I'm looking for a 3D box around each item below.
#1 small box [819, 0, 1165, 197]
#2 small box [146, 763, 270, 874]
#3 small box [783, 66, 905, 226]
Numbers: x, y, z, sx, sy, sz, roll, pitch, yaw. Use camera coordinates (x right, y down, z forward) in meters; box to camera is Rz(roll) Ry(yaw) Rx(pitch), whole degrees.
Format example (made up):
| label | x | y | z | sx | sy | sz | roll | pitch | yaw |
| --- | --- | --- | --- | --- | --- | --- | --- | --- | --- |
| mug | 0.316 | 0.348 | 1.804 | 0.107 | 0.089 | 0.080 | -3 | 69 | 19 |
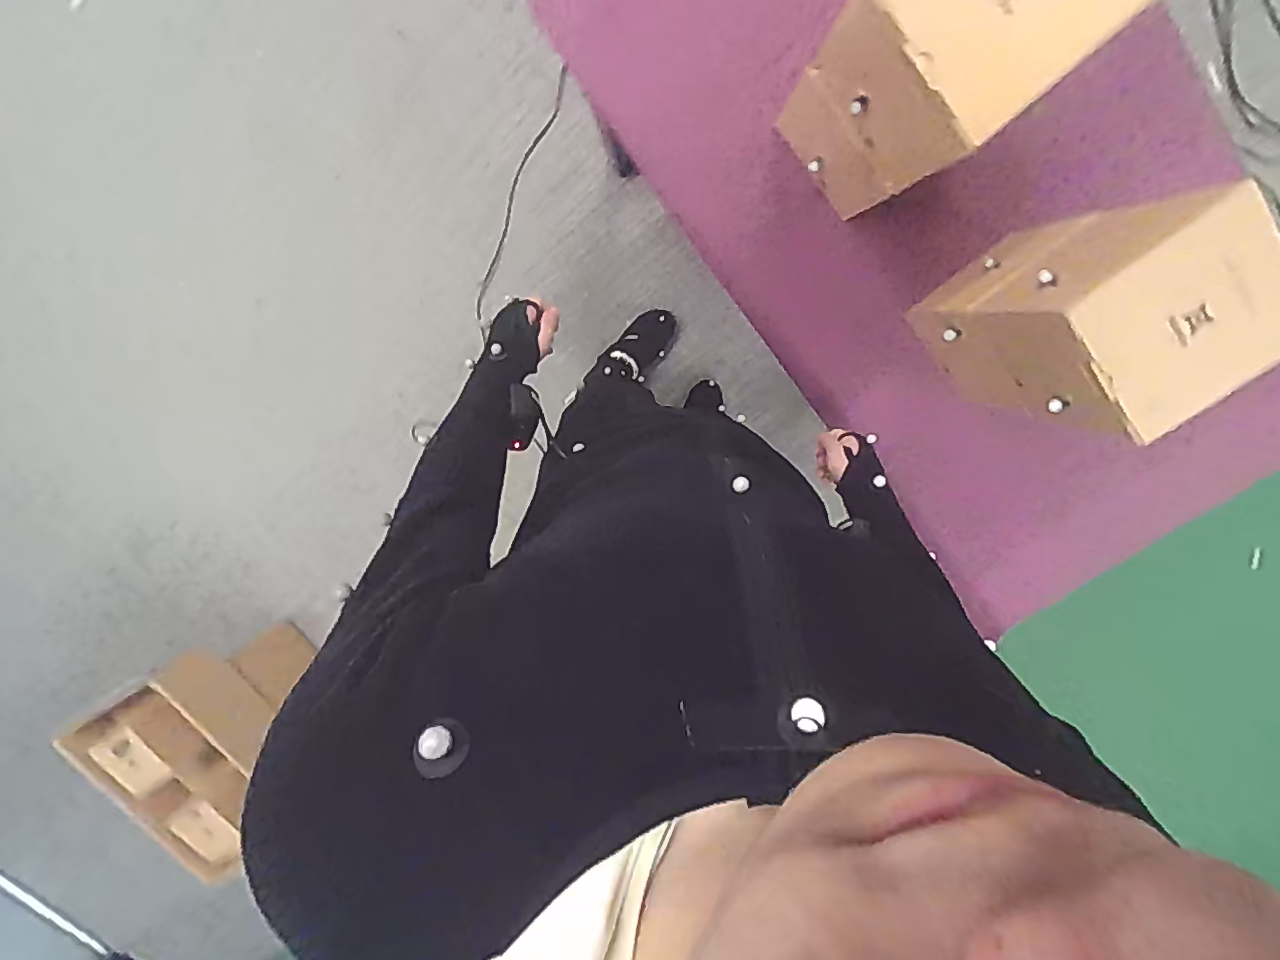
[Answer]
| label | x | y | z | sx | sy | sz | roll | pitch | yaw |
| --- | --- | --- | --- | --- | --- | --- | --- | --- | --- |
| small box | 0.298 | -0.401 | 0.500 | 0.179 | 0.176 | 0.168 | -39 | 102 | 12 |
| small box | -1.196 | 0.943 | 1.514 | 0.168 | 0.176 | 0.179 | -32 | 103 | 11 |
| small box | 0.302 | -0.444 | 0.657 | 0.179 | 0.176 | 0.168 | -38 | 101 | 12 |
